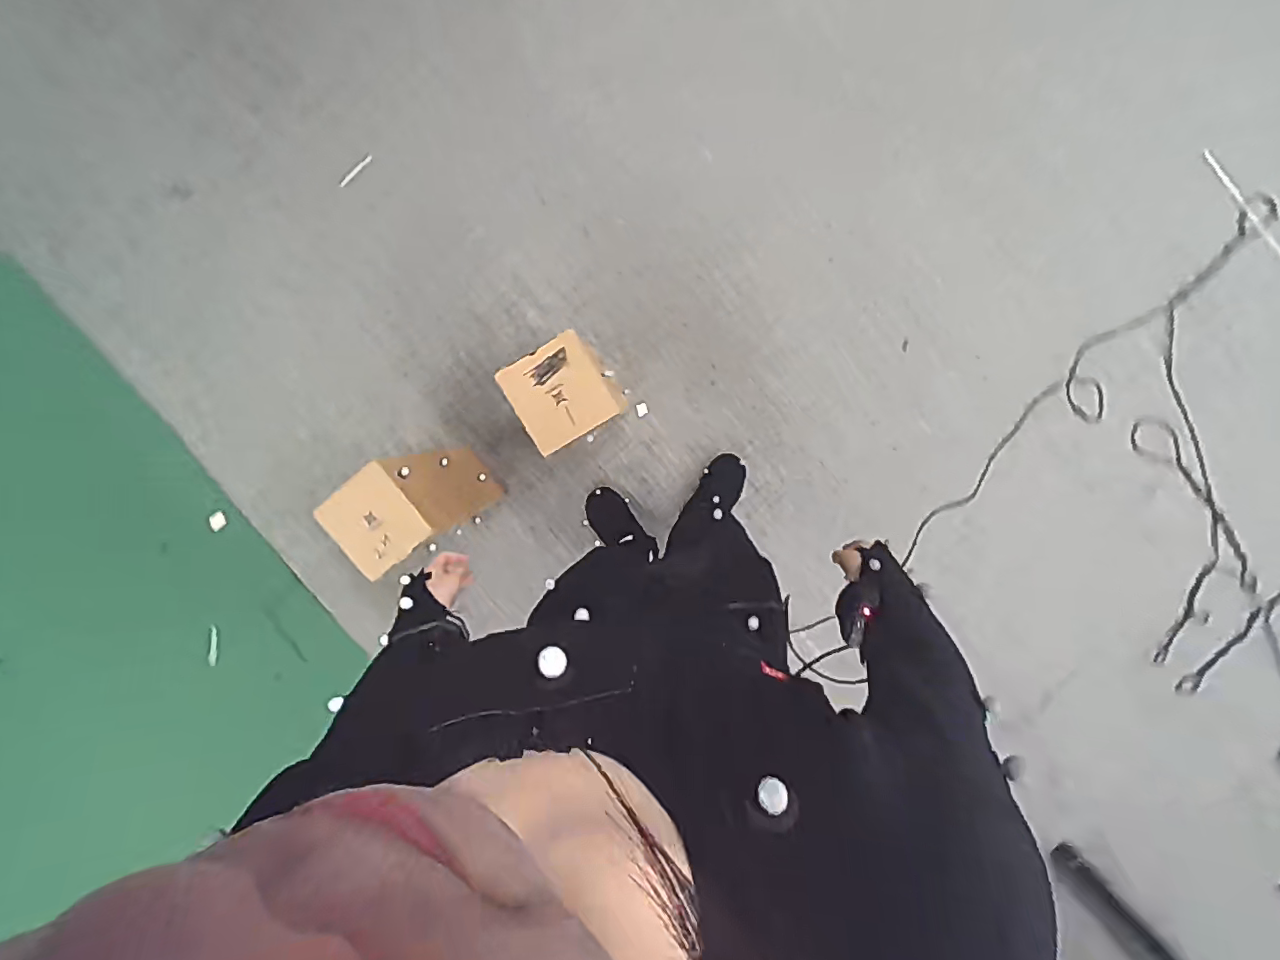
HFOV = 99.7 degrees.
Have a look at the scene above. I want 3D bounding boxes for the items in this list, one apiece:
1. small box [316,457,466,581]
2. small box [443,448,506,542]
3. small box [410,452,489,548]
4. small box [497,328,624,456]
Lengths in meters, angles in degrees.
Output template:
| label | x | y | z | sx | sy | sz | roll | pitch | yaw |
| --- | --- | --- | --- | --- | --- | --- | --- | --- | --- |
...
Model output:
| label | x | y | z | sx | sy | sz | roll | pitch | yaw |
| --- | --- | --- | --- | --- | --- | --- | --- | --- | --- |
| small box | -0.486 | 0.068 | 1.081 | 0.168 | 0.176 | 0.179 | -38 | 93 | 8 |
| small box | -0.478 | 0.030 | 1.406 | 0.168 | 0.176 | 0.179 | -36 | 94 | 6 |
| small box | -0.482 | 0.048 | 1.245 | 0.168 | 0.176 | 0.179 | -39 | 94 | 7 |
| small box | -0.143 | -0.164 | 1.039 | 0.168 | 0.176 | 0.179 | -30 | 96 | 5 |
